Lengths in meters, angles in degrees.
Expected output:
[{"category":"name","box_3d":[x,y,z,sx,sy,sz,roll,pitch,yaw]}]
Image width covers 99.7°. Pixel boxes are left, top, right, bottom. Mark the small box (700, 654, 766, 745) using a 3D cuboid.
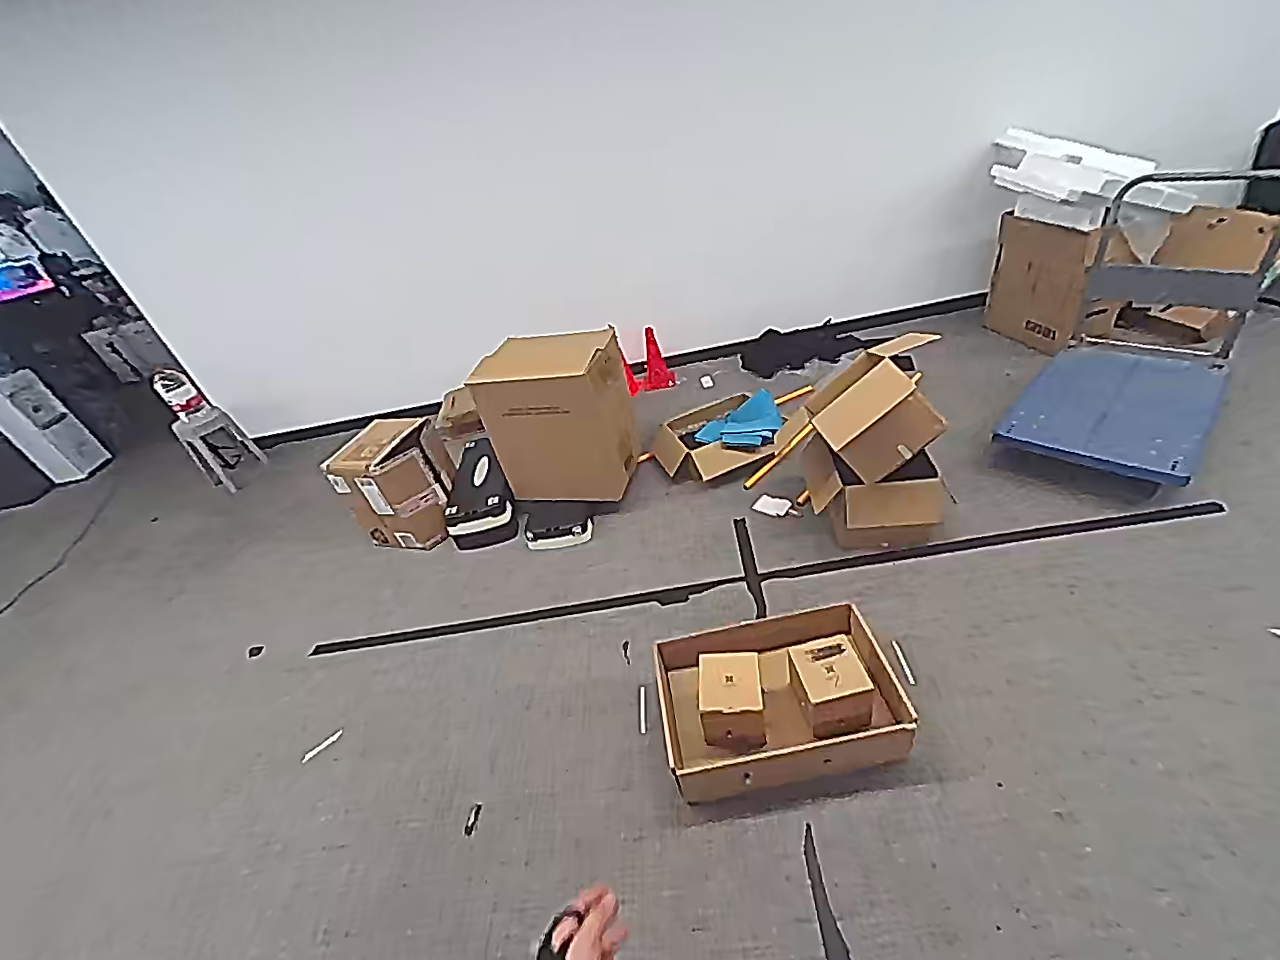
[{"category":"small box","box_3d":[0.257,0.608,1.500,0.168,0.176,0.179,-6,36,10]}]
